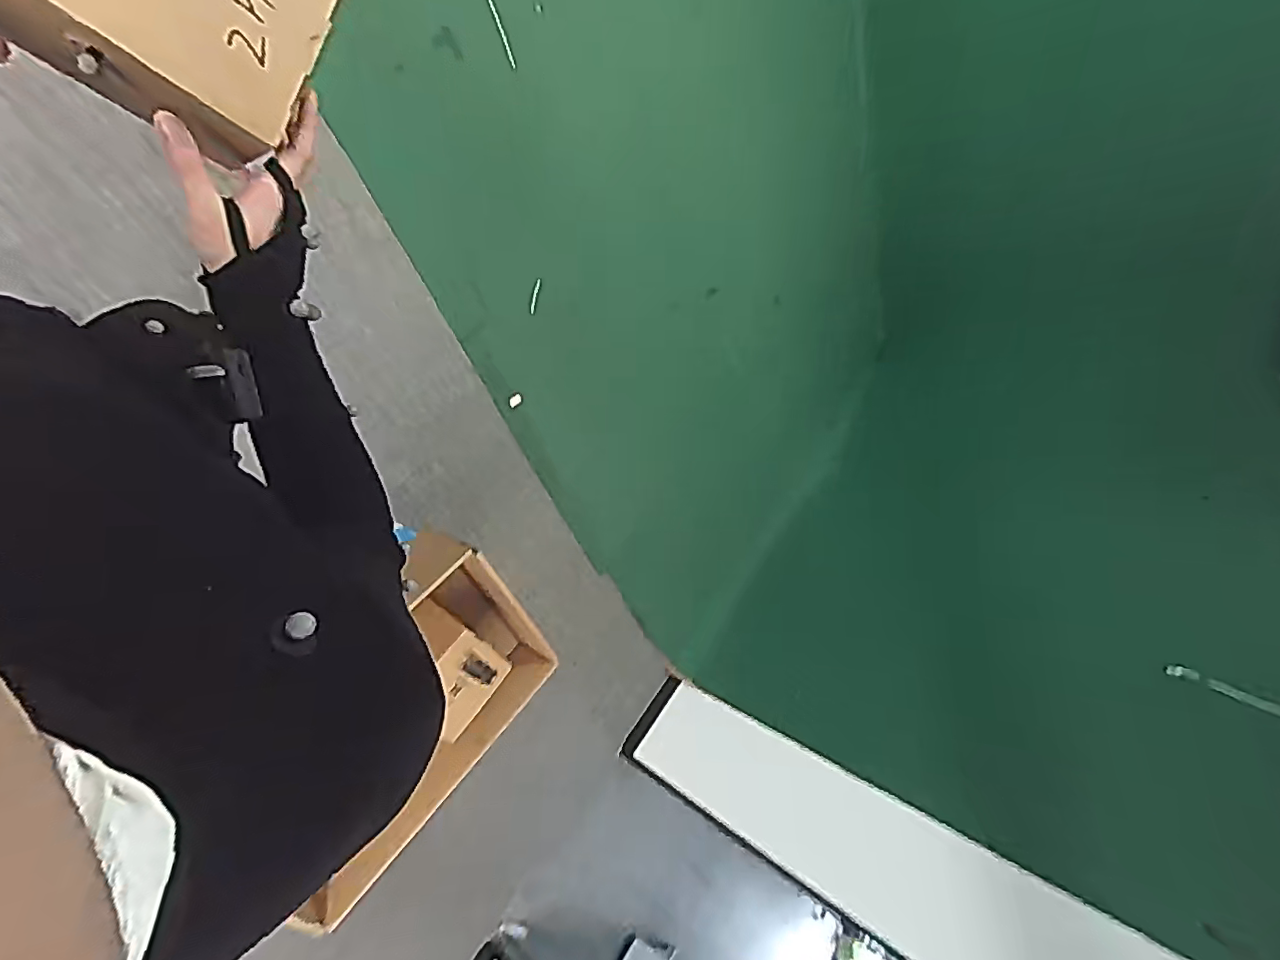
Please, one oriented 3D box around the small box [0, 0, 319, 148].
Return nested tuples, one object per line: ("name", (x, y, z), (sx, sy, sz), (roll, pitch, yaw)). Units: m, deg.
("small box", (-0.351, -0.367, 0.380), (0.179, 0.176, 0.168), (22, 91, -49))
